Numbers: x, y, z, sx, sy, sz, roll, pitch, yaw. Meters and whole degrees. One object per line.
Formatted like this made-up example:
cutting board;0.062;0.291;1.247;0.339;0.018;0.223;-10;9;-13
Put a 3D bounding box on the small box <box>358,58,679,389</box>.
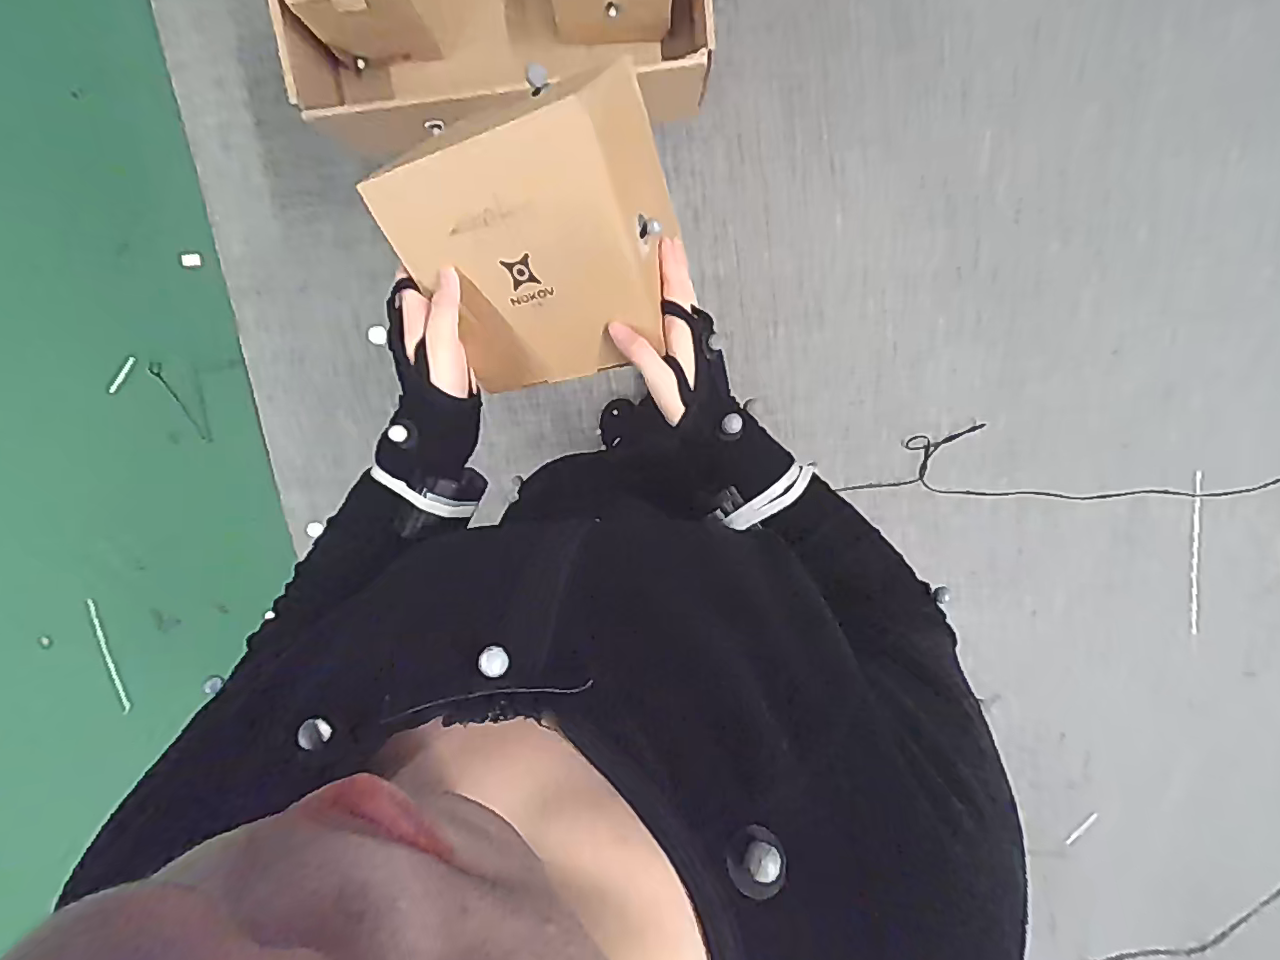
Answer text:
small box;-0.072;-0.203;0.439;0.168;0.176;0.179;-7;132;19
